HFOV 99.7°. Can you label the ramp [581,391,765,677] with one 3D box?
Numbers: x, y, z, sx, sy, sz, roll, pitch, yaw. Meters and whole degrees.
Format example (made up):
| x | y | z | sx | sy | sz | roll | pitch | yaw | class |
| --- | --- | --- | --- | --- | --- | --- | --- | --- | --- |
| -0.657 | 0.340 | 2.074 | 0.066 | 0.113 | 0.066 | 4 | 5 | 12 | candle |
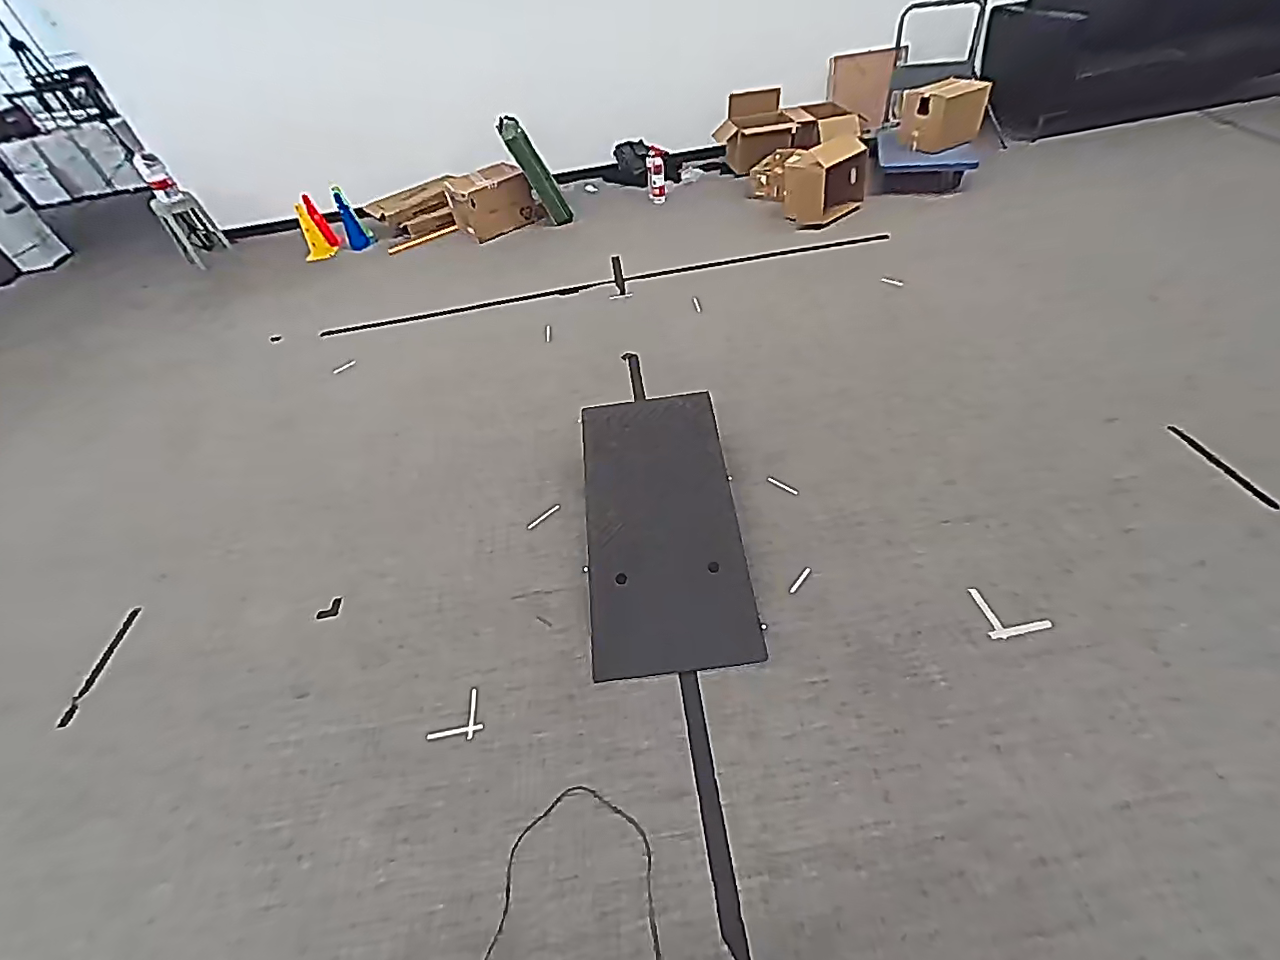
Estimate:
| x | y | z | sx | sy | sz | roll | pitch | yaw | class |
| --- | --- | --- | --- | --- | --- | --- | --- | --- | --- |
| 0.065 | 0.110 | 1.780 | 0.509 | 0.206 | 0.991 | -8 | 46 | 0 | ramp |
